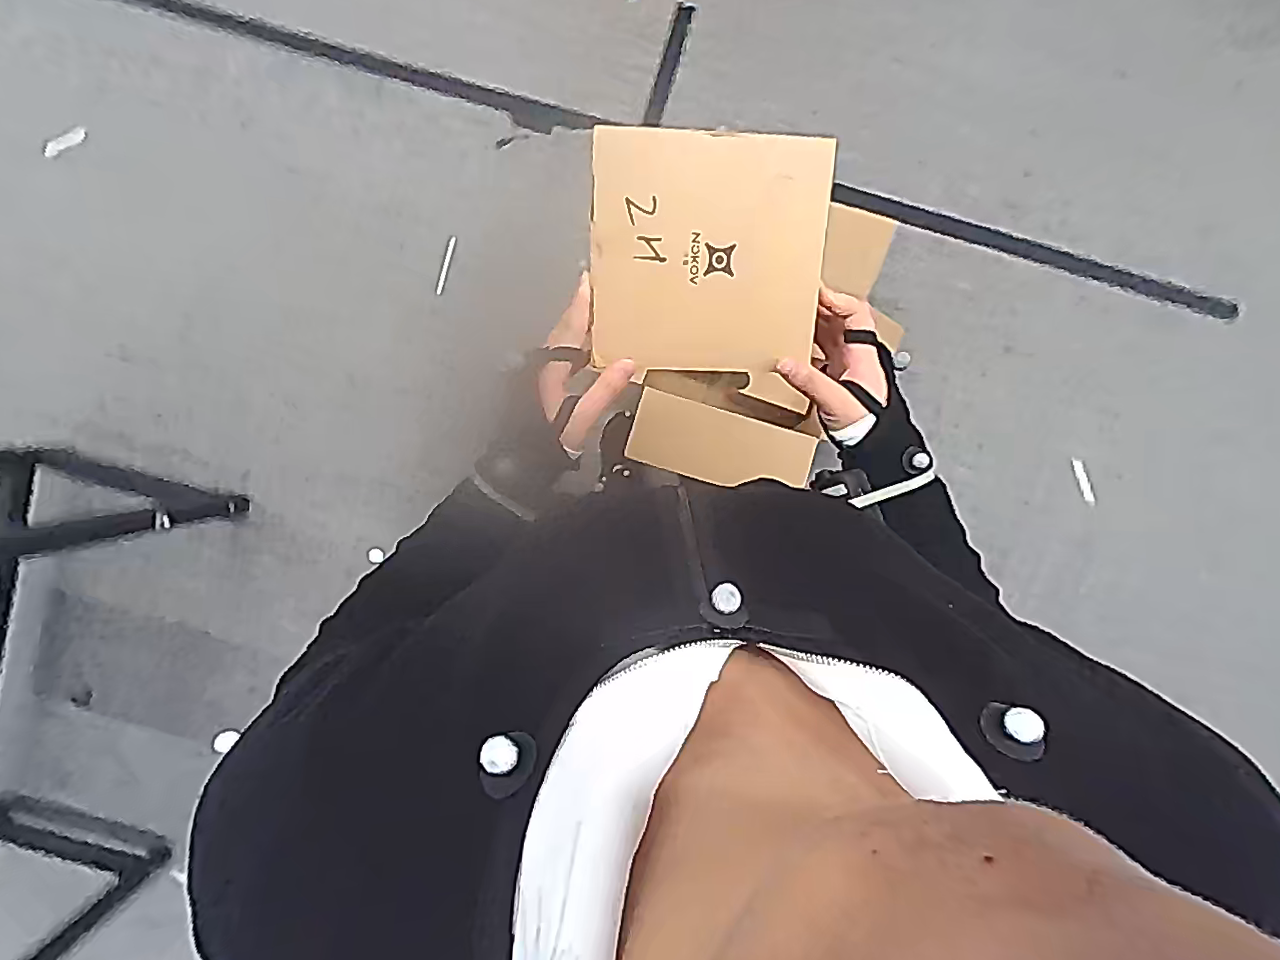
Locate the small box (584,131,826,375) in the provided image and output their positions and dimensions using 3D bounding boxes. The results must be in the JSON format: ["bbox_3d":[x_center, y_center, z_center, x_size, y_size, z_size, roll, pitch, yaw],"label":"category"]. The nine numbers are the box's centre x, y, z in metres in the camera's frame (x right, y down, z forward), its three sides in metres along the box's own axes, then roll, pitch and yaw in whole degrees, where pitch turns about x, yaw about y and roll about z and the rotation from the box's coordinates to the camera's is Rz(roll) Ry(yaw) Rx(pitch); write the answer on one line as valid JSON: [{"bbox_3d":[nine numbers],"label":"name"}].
[{"bbox_3d":[0.041,-0.186,0.478,0.179,0.176,0.168,0,106,-3],"label":"small box"}]
